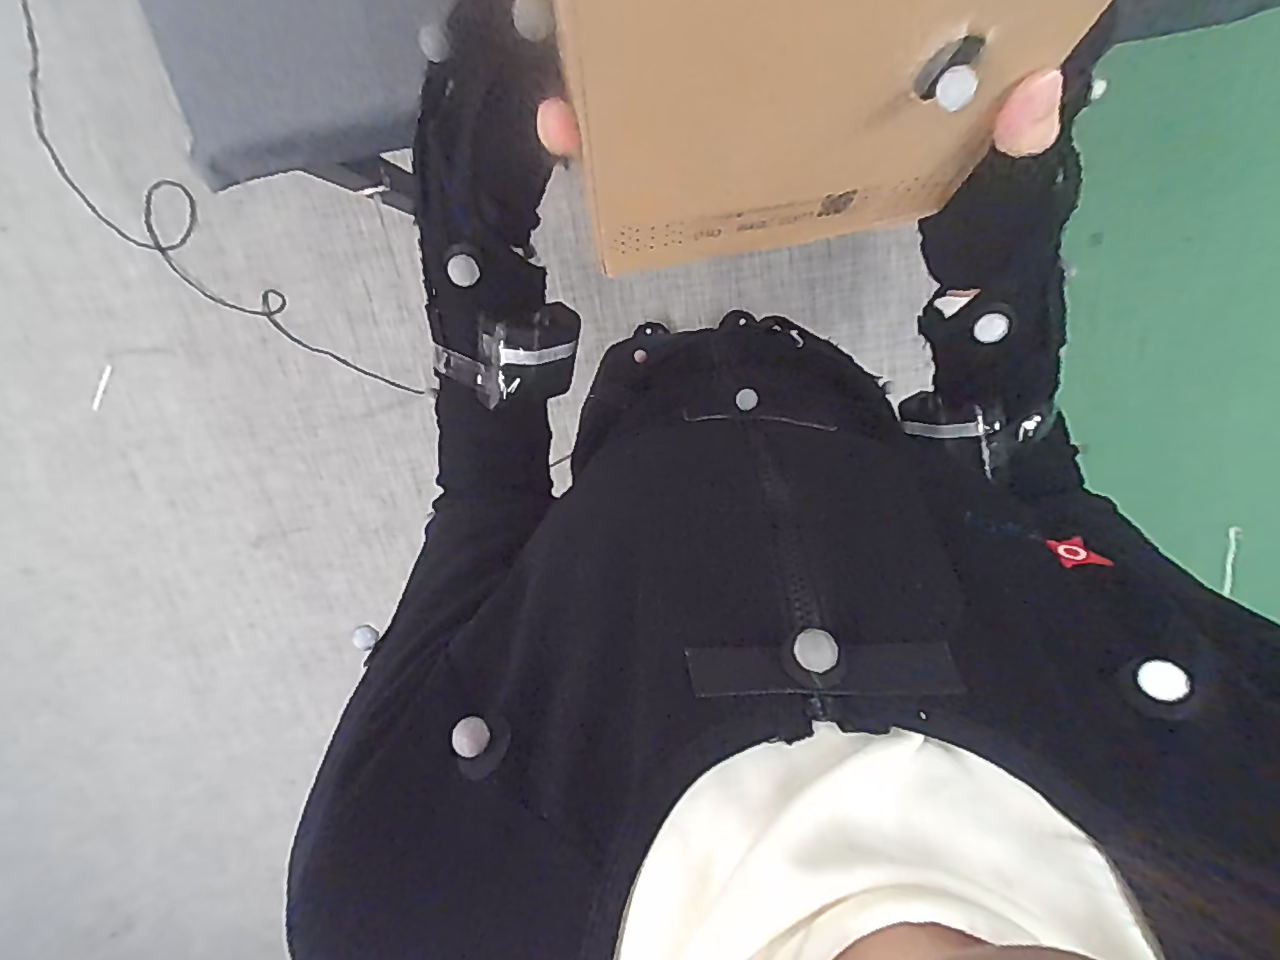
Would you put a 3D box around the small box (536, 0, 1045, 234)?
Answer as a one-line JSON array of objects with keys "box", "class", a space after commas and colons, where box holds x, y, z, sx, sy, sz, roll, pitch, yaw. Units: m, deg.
[{"box": [0.042, -0.216, 0.197, 0.168, 0.176, 0.179, -13, 79, -4], "class": "small box"}]
